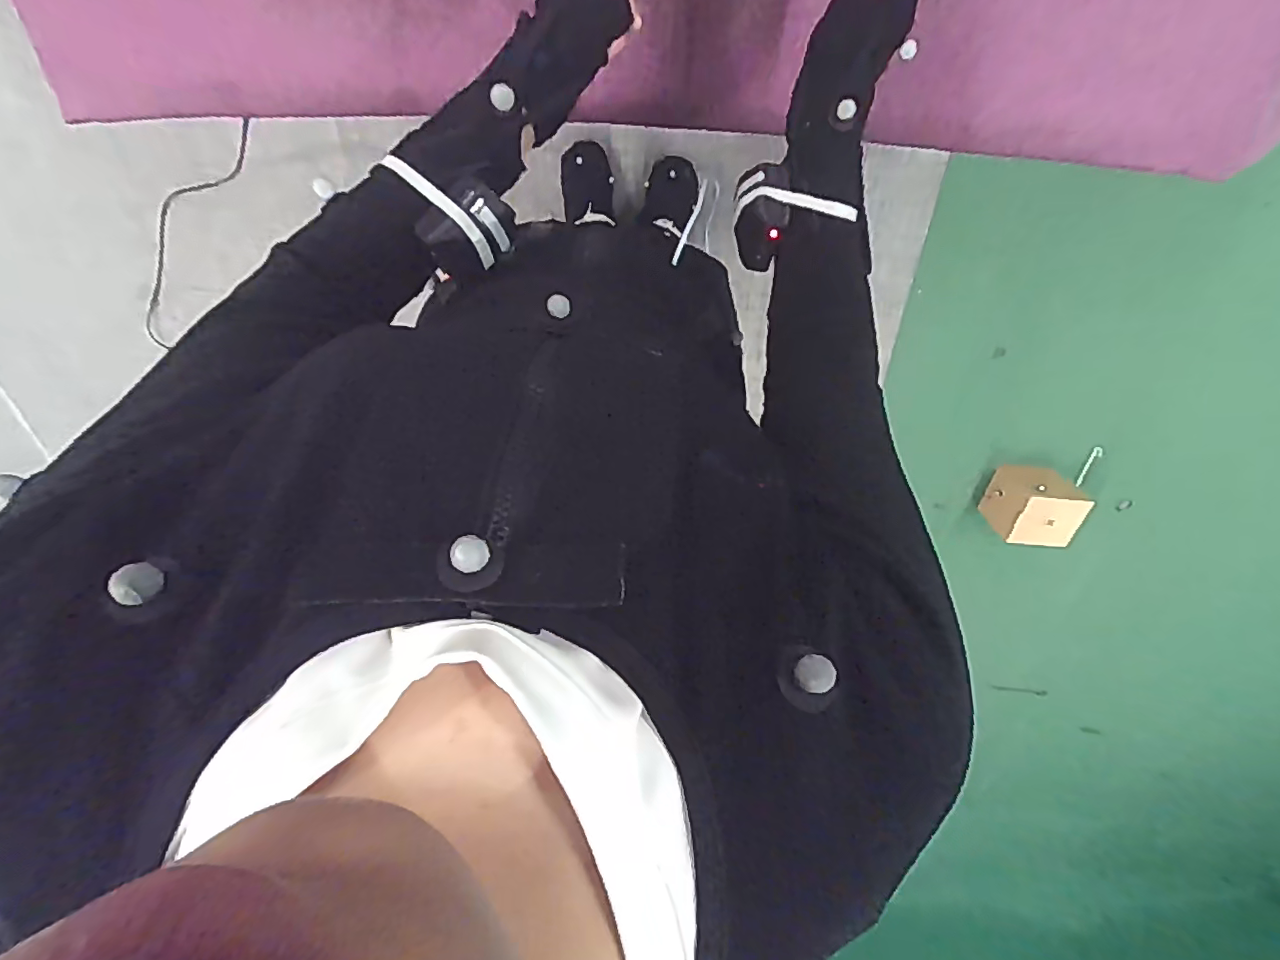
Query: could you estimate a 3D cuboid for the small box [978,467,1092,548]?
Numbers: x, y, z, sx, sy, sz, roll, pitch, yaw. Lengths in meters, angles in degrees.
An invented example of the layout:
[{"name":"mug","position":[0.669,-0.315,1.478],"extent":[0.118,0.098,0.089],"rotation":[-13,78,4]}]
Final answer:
[{"name":"small box","position":[1.134,0.077,1.569],"extent":[0.179,0.176,0.168],"rotation":[5,124,0]}]
